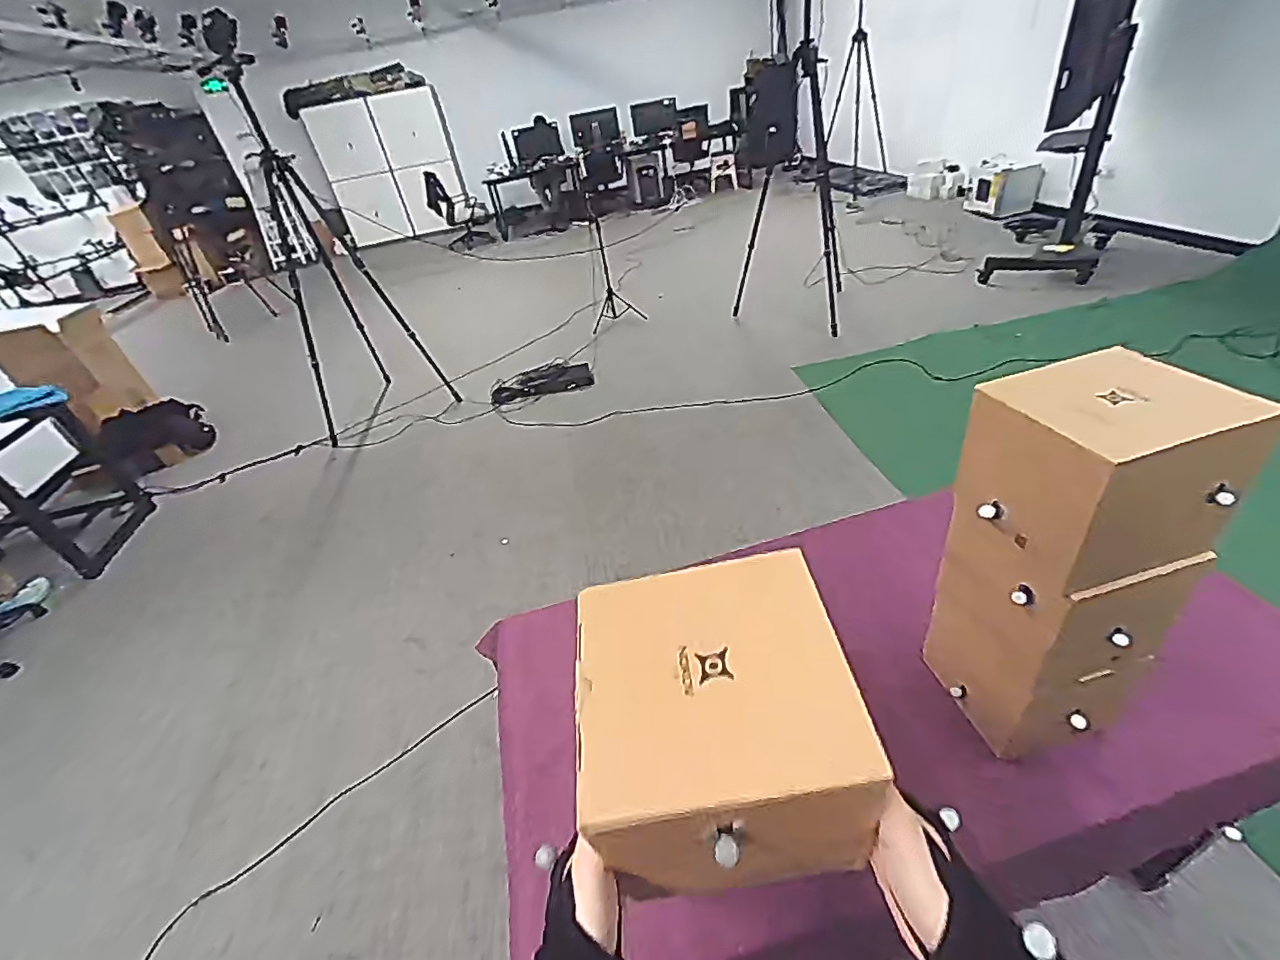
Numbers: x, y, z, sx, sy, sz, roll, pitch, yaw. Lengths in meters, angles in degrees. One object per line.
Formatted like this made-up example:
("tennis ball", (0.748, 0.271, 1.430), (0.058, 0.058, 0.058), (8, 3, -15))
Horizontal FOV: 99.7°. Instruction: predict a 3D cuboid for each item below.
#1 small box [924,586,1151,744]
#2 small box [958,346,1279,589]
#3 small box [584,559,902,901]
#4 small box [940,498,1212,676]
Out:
("small box", (0.534, 0.243, 0.760), (0.168, 0.176, 0.179), (-15, 38, -5))
("small box", (0.473, -0.016, 0.567), (0.179, 0.176, 0.168), (-16, 36, -4))
("small box", (0.063, 0.186, 0.401), (0.179, 0.176, 0.168), (-12, 41, 4))
("small box", (0.504, 0.114, 0.661), (0.168, 0.176, 0.179), (-15, 37, -5))
